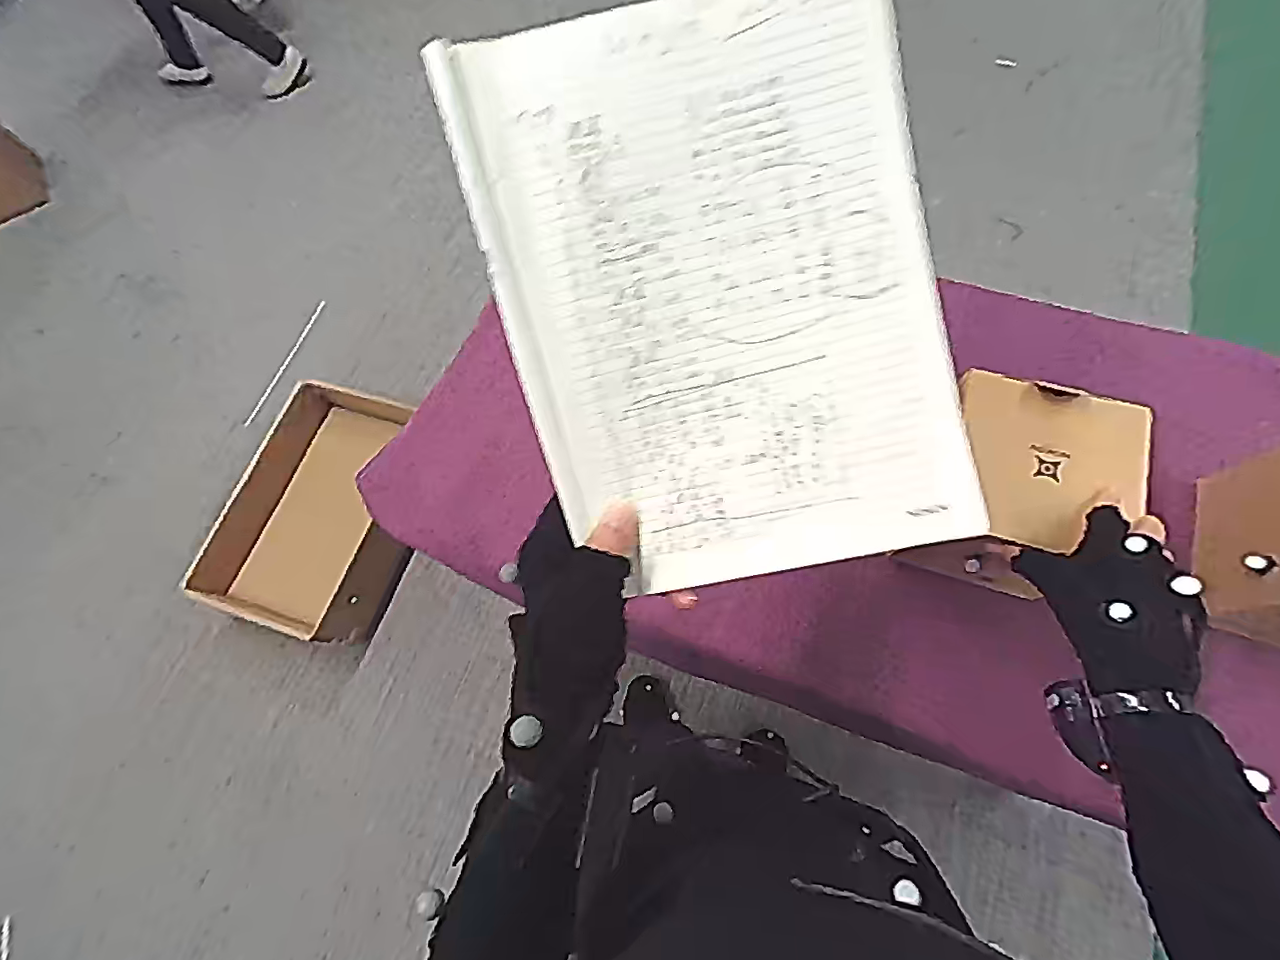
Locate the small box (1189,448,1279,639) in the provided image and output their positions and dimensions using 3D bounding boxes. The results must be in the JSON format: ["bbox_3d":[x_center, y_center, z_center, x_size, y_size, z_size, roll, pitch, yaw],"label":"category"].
[{"bbox_3d":[0.704,0.073,0.532,0.168,0.176,0.179,20,73,12],"label":"small box"}]

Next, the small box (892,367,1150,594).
[{"bbox_3d":[0.394,0.011,0.588,0.168,0.176,0.179,17,72,12],"label":"small box"}]
